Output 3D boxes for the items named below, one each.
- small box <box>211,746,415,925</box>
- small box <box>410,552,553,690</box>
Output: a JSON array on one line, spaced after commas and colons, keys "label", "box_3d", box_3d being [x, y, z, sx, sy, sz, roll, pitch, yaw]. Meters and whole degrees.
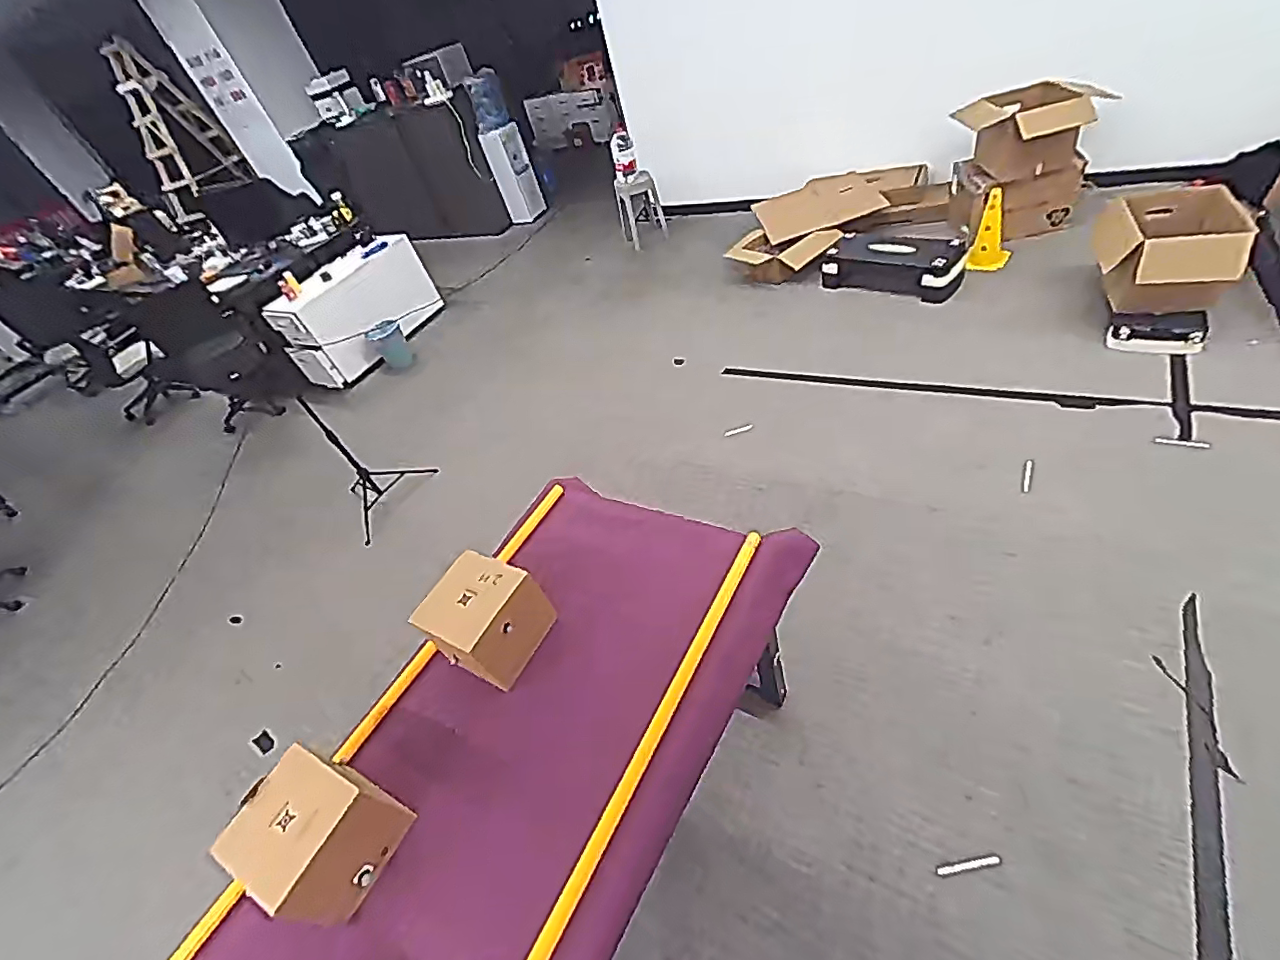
[{"label": "small box", "box_3d": [-0.499, 0.556, 0.845, 0.179, 0.176, 0.168, 12, 53, 28]}, {"label": "small box", "box_3d": [-0.296, 0.275, 1.048, 0.168, 0.176, 0.179, 14, 53, 29]}]
